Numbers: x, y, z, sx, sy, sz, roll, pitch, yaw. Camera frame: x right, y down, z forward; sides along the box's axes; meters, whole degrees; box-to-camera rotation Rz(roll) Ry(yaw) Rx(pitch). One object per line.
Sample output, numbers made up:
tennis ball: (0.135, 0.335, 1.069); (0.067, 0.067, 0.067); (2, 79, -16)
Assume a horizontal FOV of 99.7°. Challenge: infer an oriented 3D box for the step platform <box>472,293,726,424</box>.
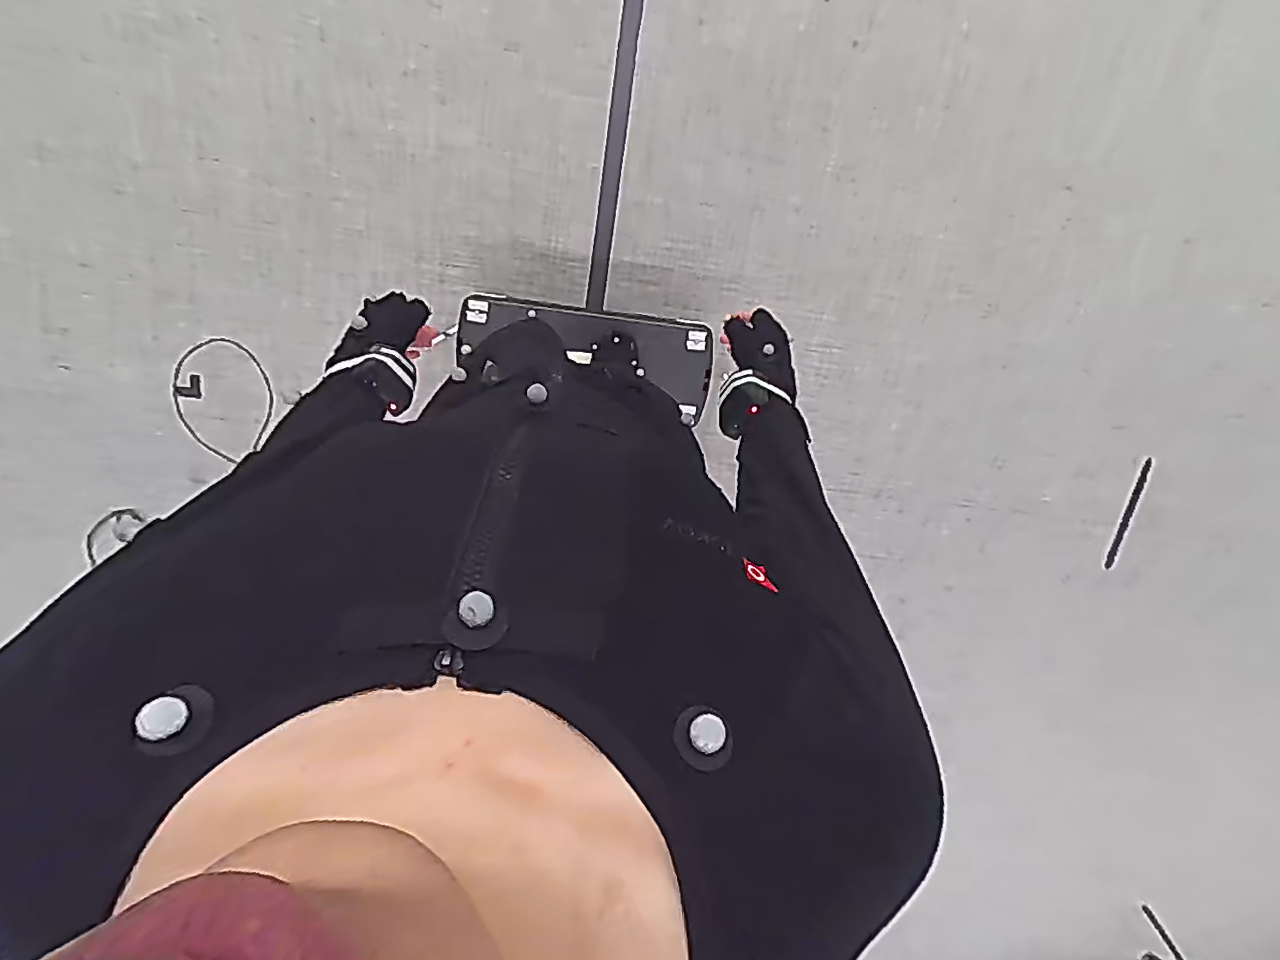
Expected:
step platform: (-0.110, -0.334, 1.498); (0.684, 0.204, 0.286); (5, 107, -5)
